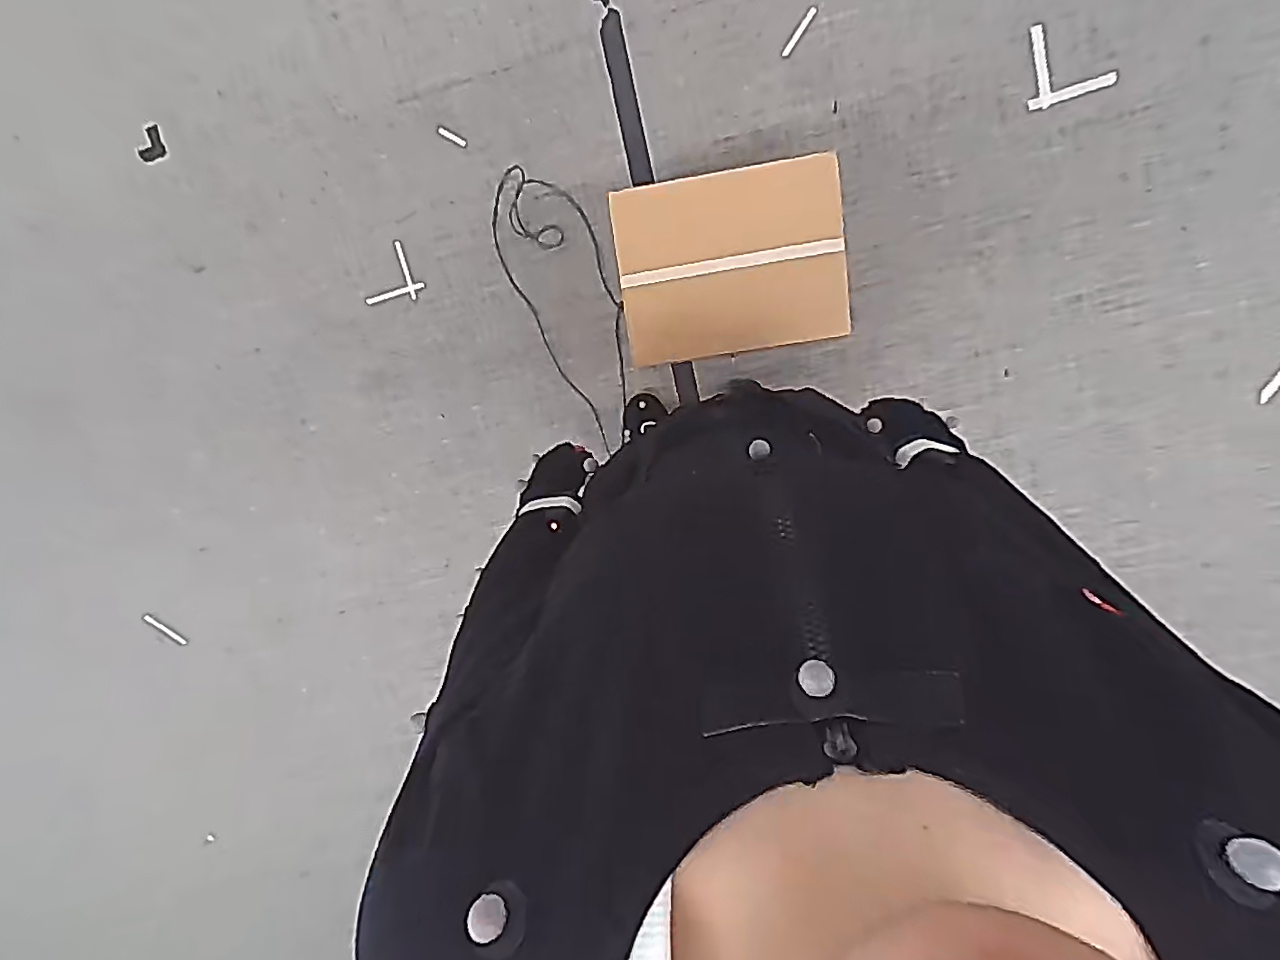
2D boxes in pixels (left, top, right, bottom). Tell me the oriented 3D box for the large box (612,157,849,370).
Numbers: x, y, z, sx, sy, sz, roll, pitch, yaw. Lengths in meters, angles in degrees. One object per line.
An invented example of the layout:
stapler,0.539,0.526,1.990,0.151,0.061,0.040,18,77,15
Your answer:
large box,0.175,-0.415,1.128,0.408,0.320,0.320,-7,102,5
